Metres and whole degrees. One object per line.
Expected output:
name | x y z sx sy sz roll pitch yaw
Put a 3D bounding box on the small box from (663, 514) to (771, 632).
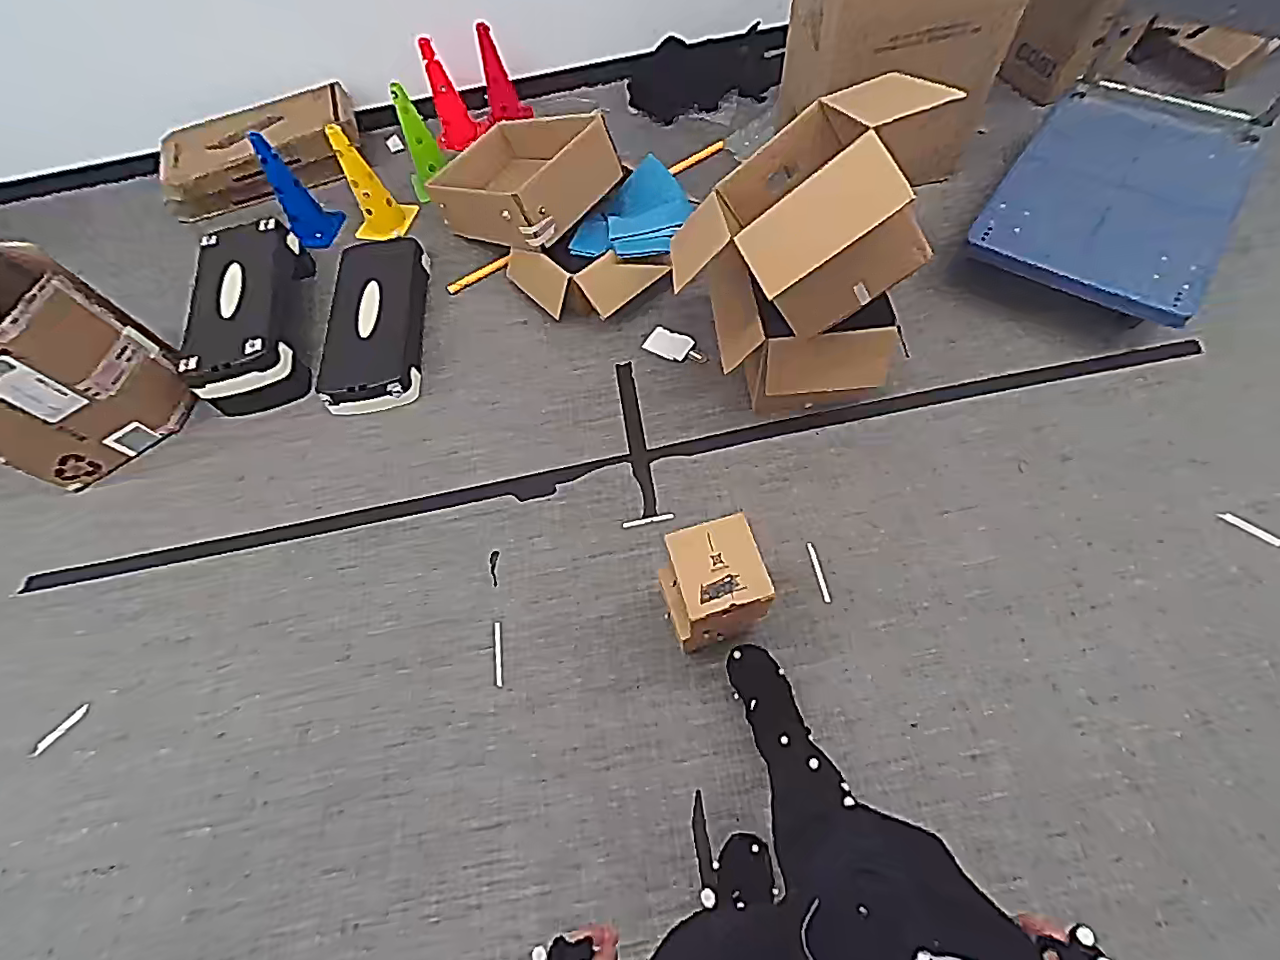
small box | 0.150 0.195 1.089 0.168 0.176 0.179 -15 62 -3
